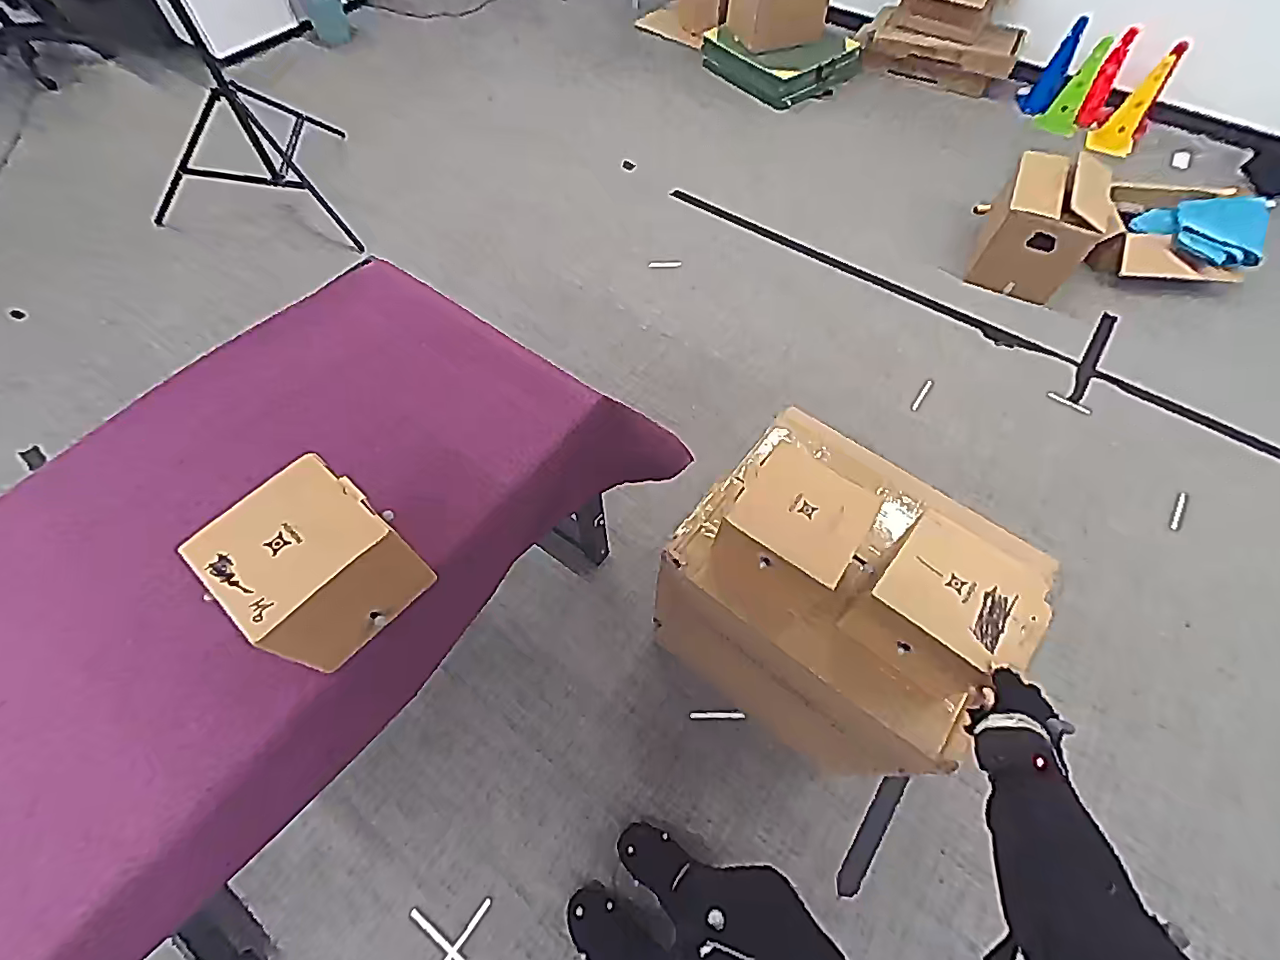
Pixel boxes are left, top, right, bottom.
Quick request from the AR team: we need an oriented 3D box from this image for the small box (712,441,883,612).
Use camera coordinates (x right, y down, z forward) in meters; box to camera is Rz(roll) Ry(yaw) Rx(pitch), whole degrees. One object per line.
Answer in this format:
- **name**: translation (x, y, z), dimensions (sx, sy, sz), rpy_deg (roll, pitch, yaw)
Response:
- **small box**: translation (0.229, 0.078, 0.832), dimensions (0.179, 0.176, 0.168), rpy_deg (34, 67, 16)

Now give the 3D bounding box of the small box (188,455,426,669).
- **small box**: translation (-0.400, 0.108, 0.689), dimensions (0.168, 0.176, 0.179), rpy_deg (37, 65, 20)

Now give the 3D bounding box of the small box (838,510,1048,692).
- **small box**: translation (0.417, 0.180, 0.772), dimensions (0.179, 0.176, 0.168), rpy_deg (36, 68, 21)
